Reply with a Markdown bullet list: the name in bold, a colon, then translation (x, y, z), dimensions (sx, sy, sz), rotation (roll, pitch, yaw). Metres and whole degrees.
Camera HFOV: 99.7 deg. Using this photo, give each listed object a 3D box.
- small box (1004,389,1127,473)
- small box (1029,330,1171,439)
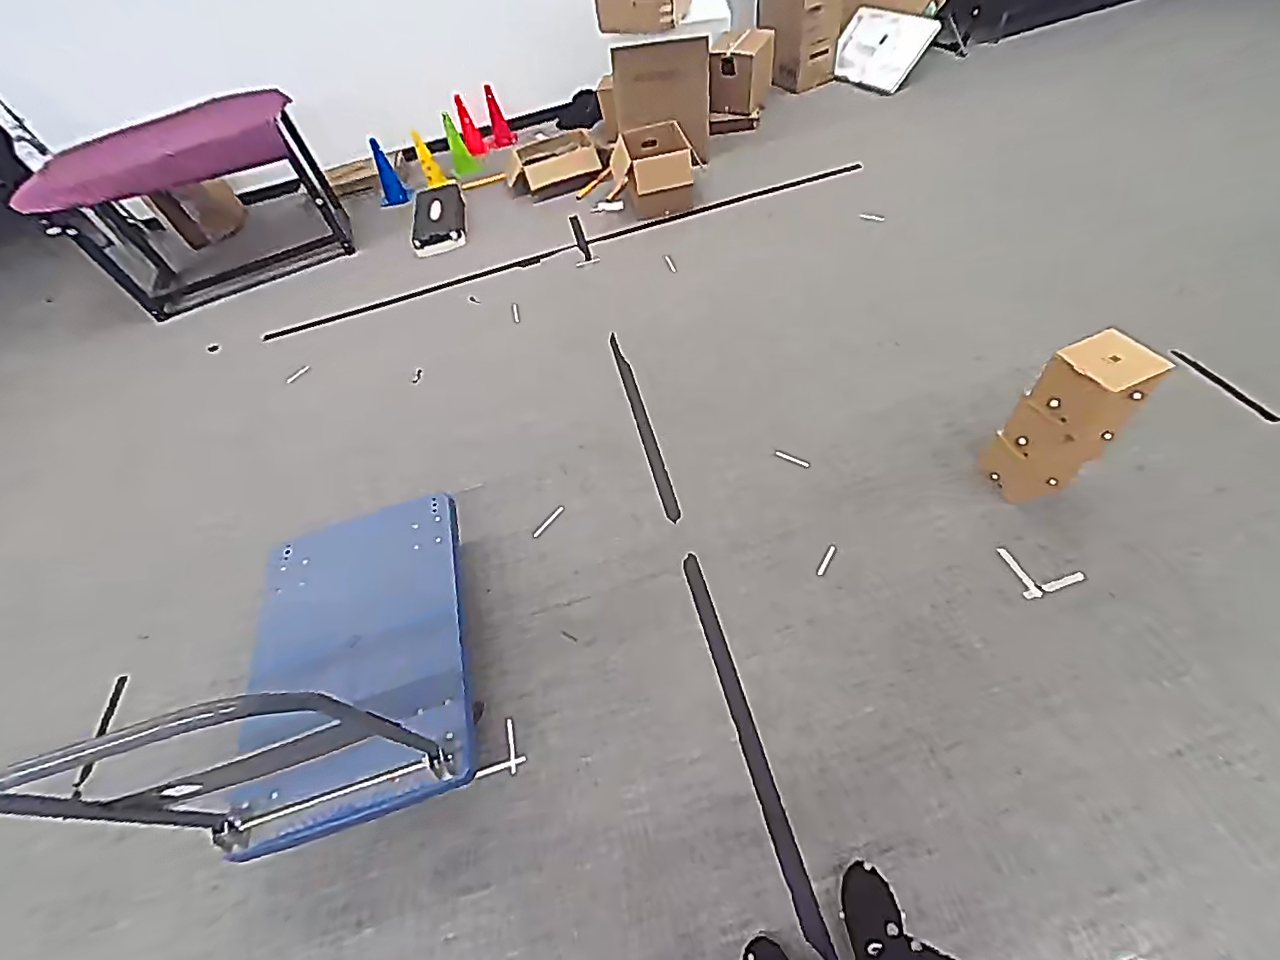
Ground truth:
- **small box**: translation (1.143, -0.145, 1.471), dimensions (0.179, 0.176, 0.168), rotation (-14, 51, 1)
- **small box**: translation (1.121, -0.234, 1.336), dimensions (0.179, 0.176, 0.168), rotation (-23, 52, -6)
